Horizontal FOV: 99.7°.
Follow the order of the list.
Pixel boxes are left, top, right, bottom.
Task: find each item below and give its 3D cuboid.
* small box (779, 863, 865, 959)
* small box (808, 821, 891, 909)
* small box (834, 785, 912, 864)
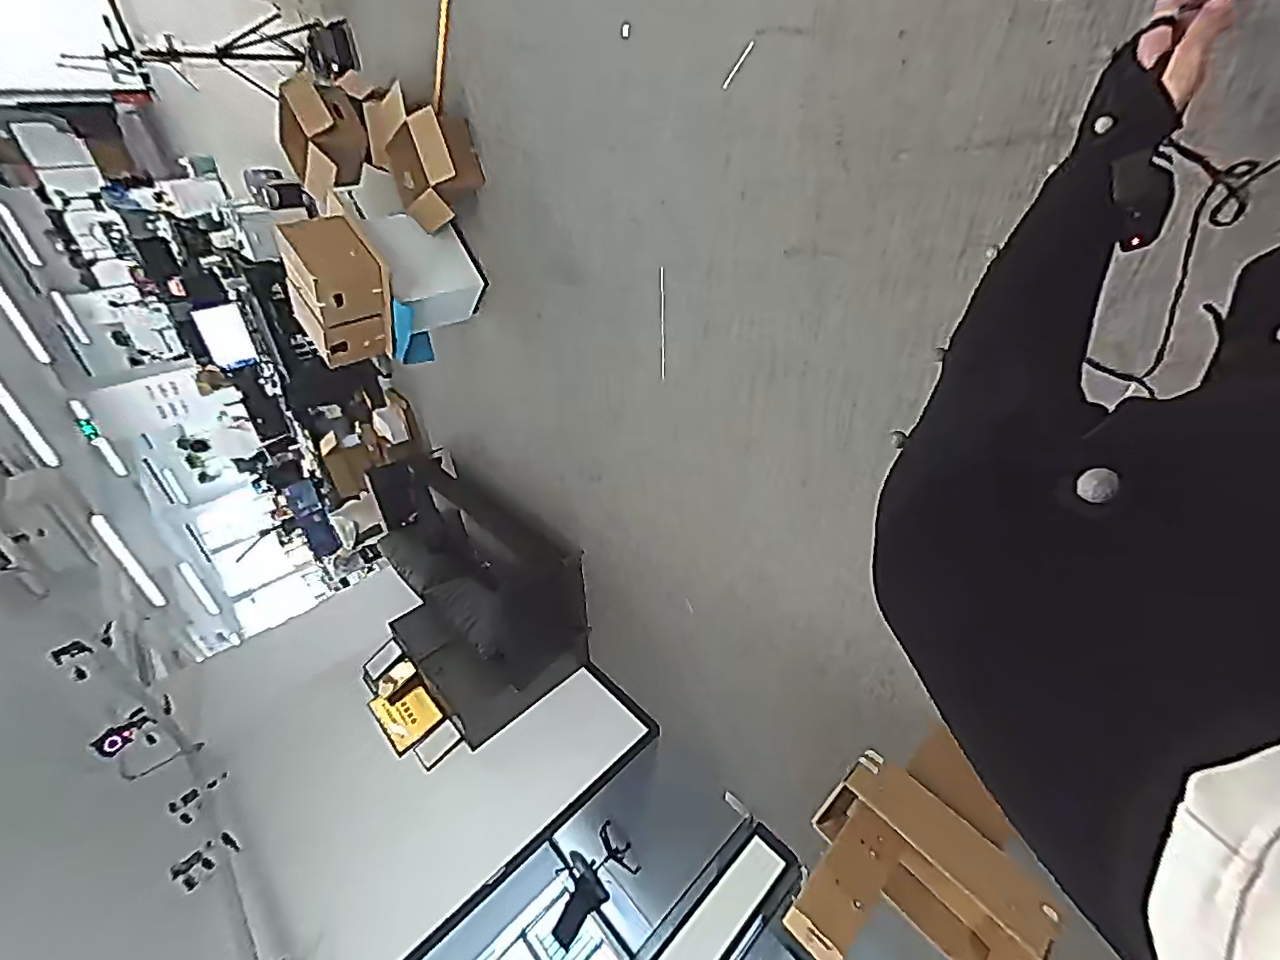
[{"bbox_3d":[0.549,1.301,1.622,0.168,0.176,0.179,34,138,32],"label":"small box"},{"bbox_3d":[0.666,1.239,1.719,0.168,0.176,0.179,34,136,32],"label":"small box"},{"bbox_3d":[0.781,1.177,1.816,0.168,0.176,0.179,33,137,32],"label":"small box"}]
